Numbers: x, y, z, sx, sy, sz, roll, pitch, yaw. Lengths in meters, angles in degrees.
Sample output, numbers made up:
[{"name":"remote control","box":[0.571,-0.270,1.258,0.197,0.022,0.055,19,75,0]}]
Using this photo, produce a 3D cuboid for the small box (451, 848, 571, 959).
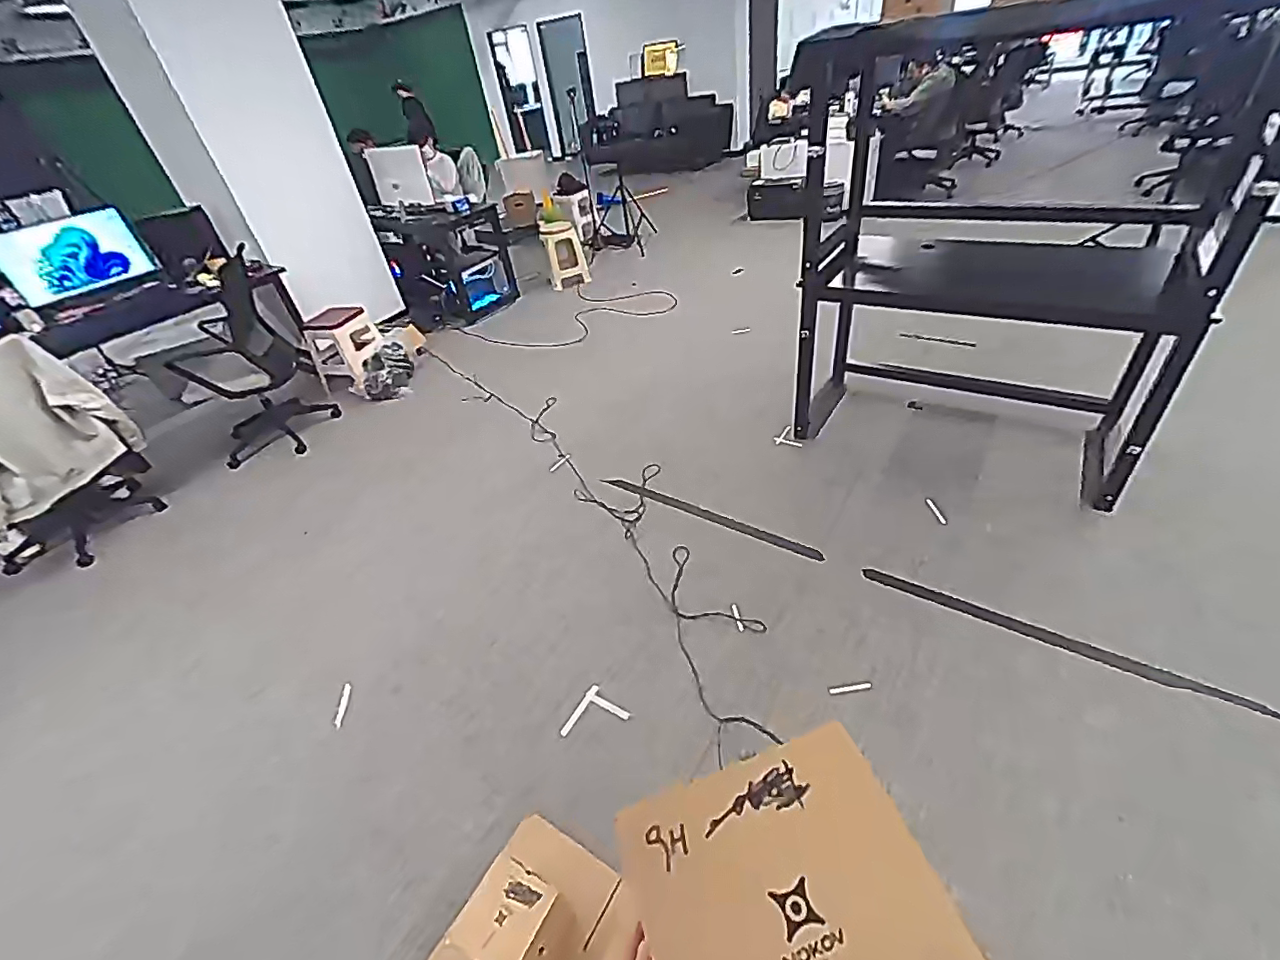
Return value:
[{"name":"small box","box":[-0.266,0.951,1.165,0.168,0.176,0.179,14,45,27]}]

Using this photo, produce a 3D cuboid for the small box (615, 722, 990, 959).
[{"name":"small box","box":[0.093,0.294,0.344,0.168,0.176,0.179,-16,46,-11]}]

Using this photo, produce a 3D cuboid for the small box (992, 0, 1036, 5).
[{"name":"small box","box":[1.017,-1.325,1.369,0.168,0.176,0.179,18,44,31]}]

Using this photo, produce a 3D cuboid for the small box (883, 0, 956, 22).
[{"name":"small box","box":[0.794,-1.397,1.510,0.168,0.176,0.179,18,45,29]}]
